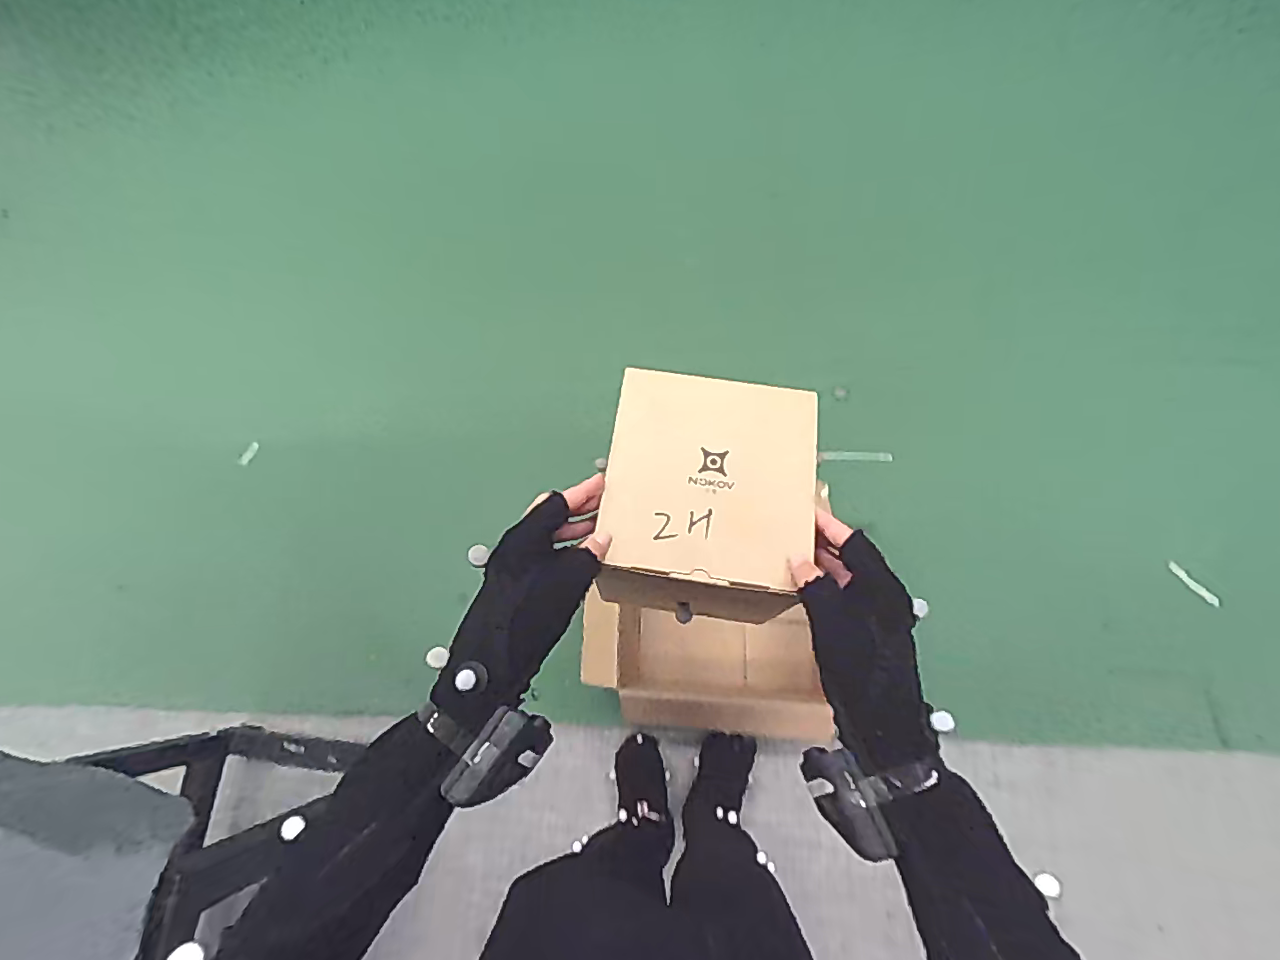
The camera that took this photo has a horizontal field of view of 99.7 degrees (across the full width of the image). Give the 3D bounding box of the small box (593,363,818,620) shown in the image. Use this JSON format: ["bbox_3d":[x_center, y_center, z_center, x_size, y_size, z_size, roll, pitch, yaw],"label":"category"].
[{"bbox_3d":[0.055,0.020,0.500,0.168,0.176,0.179,8,68,3],"label":"small box"}]
